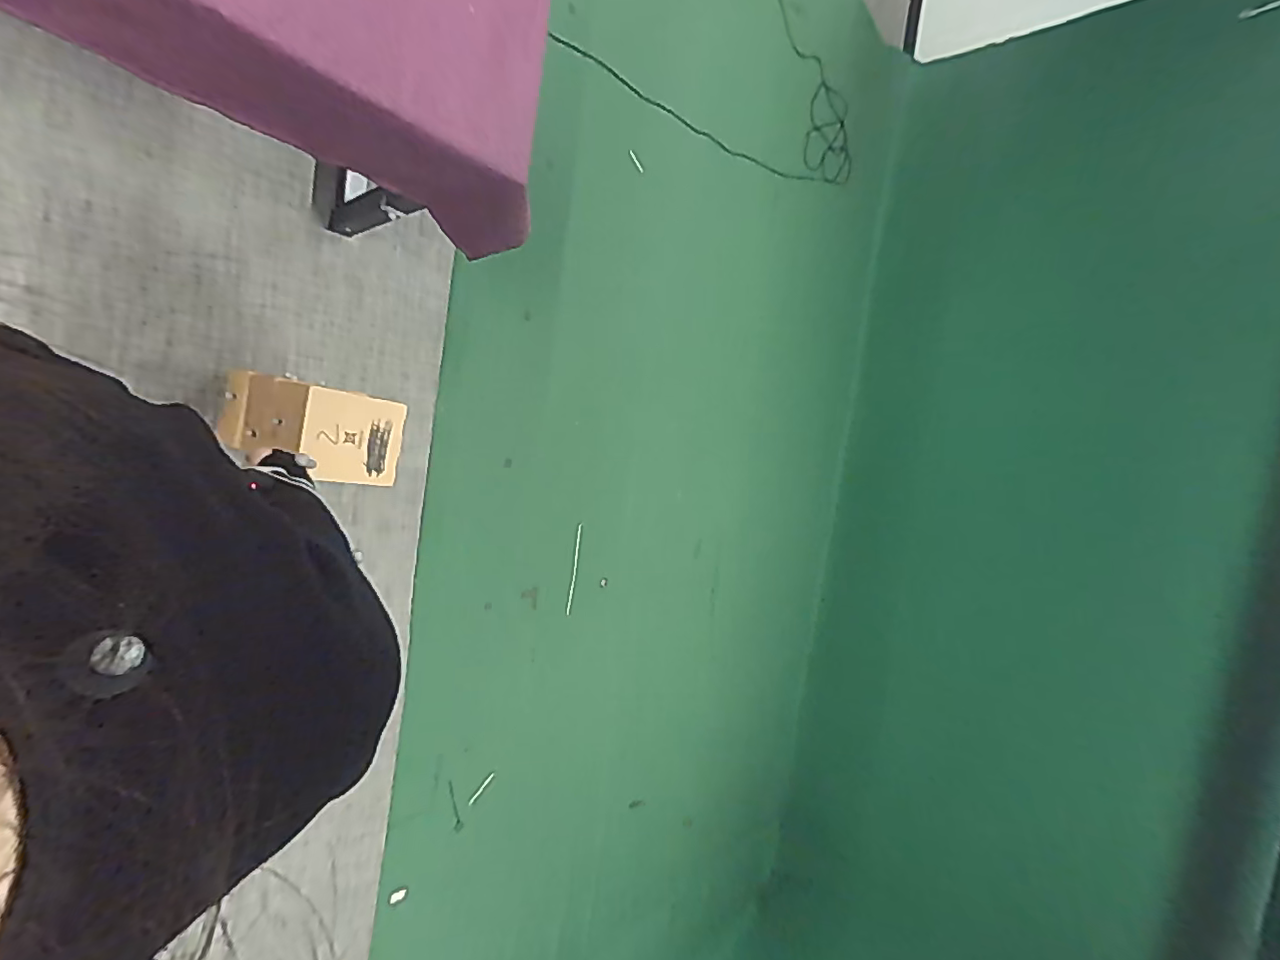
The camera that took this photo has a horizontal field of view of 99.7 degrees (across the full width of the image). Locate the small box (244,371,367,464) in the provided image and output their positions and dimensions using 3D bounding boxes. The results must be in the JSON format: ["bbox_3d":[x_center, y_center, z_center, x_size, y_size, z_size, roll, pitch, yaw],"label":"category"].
[{"bbox_3d":[-0.713,-0.132,1.149,0.179,0.176,0.168,6,96,-51],"label":"small box"}]

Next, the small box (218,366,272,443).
[{"bbox_3d":[-0.840,-0.160,1.247,0.179,0.176,0.168,10,91,-50],"label":"small box"}]
